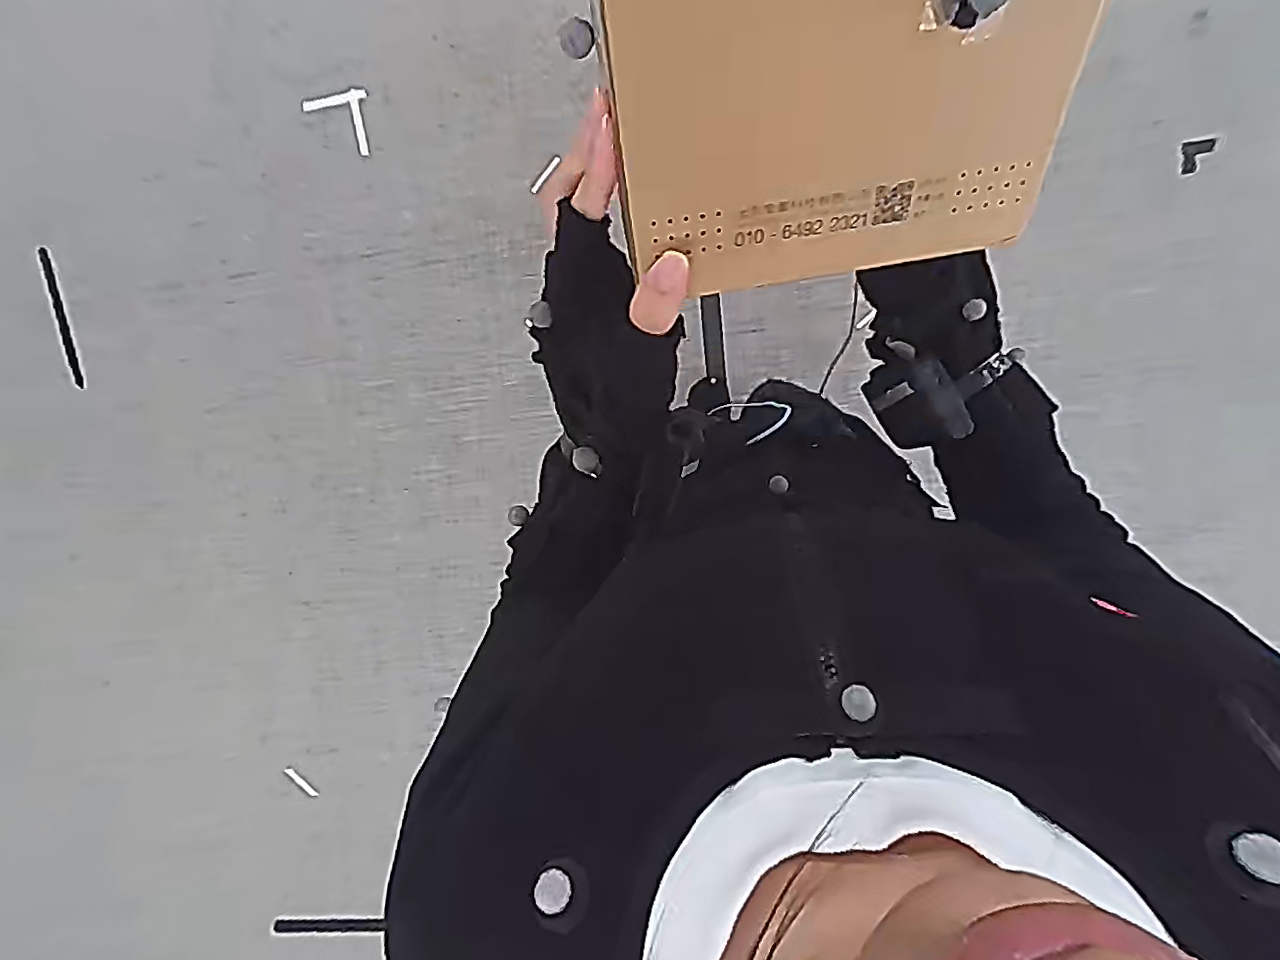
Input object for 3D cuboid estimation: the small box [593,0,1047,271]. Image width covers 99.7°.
[{"bbox_3d":[0.065,-0.213,0.258,0.168,0.179,0.176,-9,132,0],"label":"small box"}]
